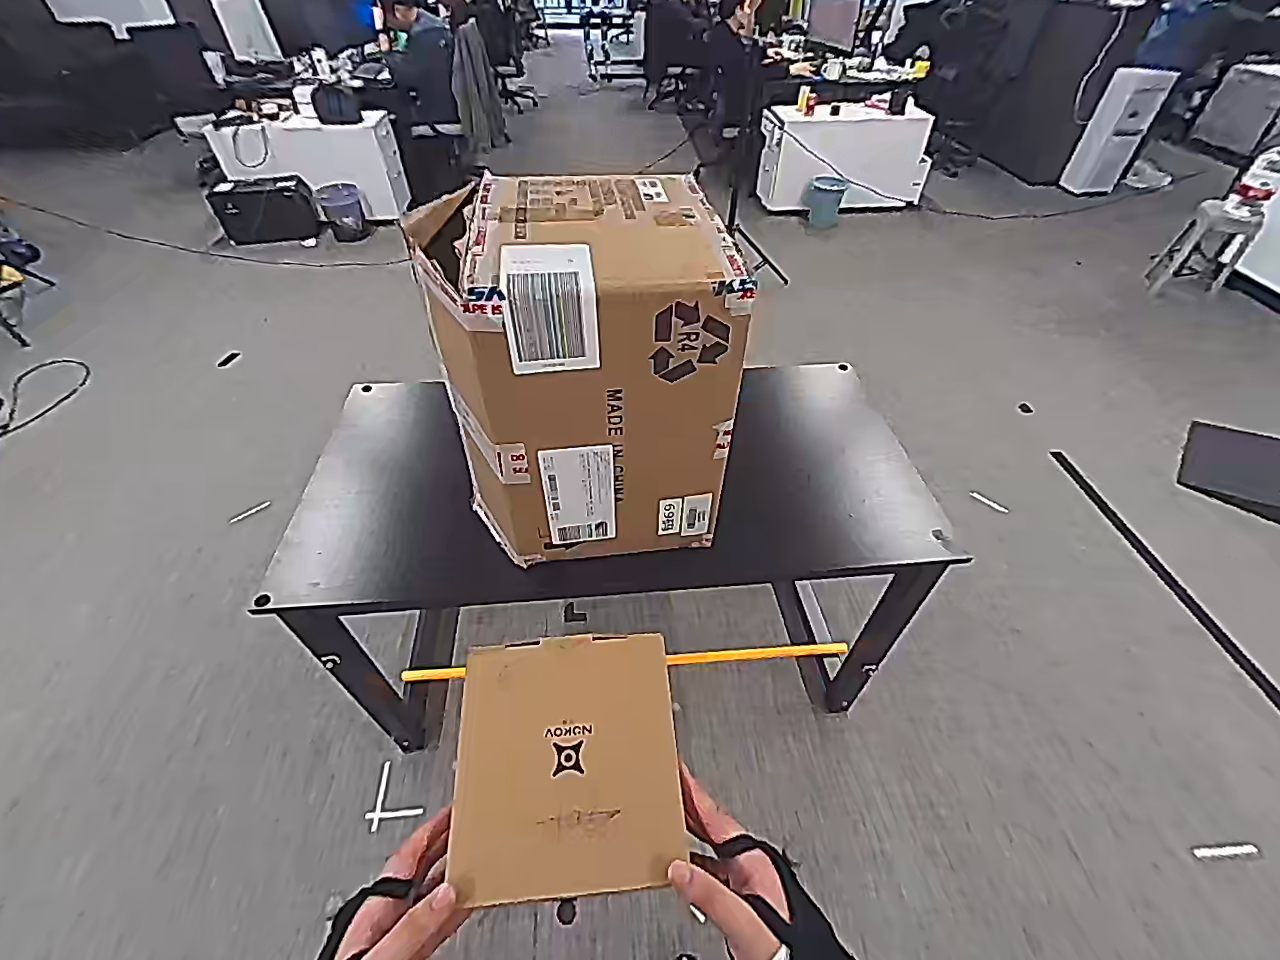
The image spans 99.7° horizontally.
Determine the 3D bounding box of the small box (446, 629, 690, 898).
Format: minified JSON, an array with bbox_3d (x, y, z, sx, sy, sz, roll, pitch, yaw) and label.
[{"bbox_3d":[-0.056,0.248,0.472,0.168,0.176,0.179,-3,54,-4],"label":"small box"}]
